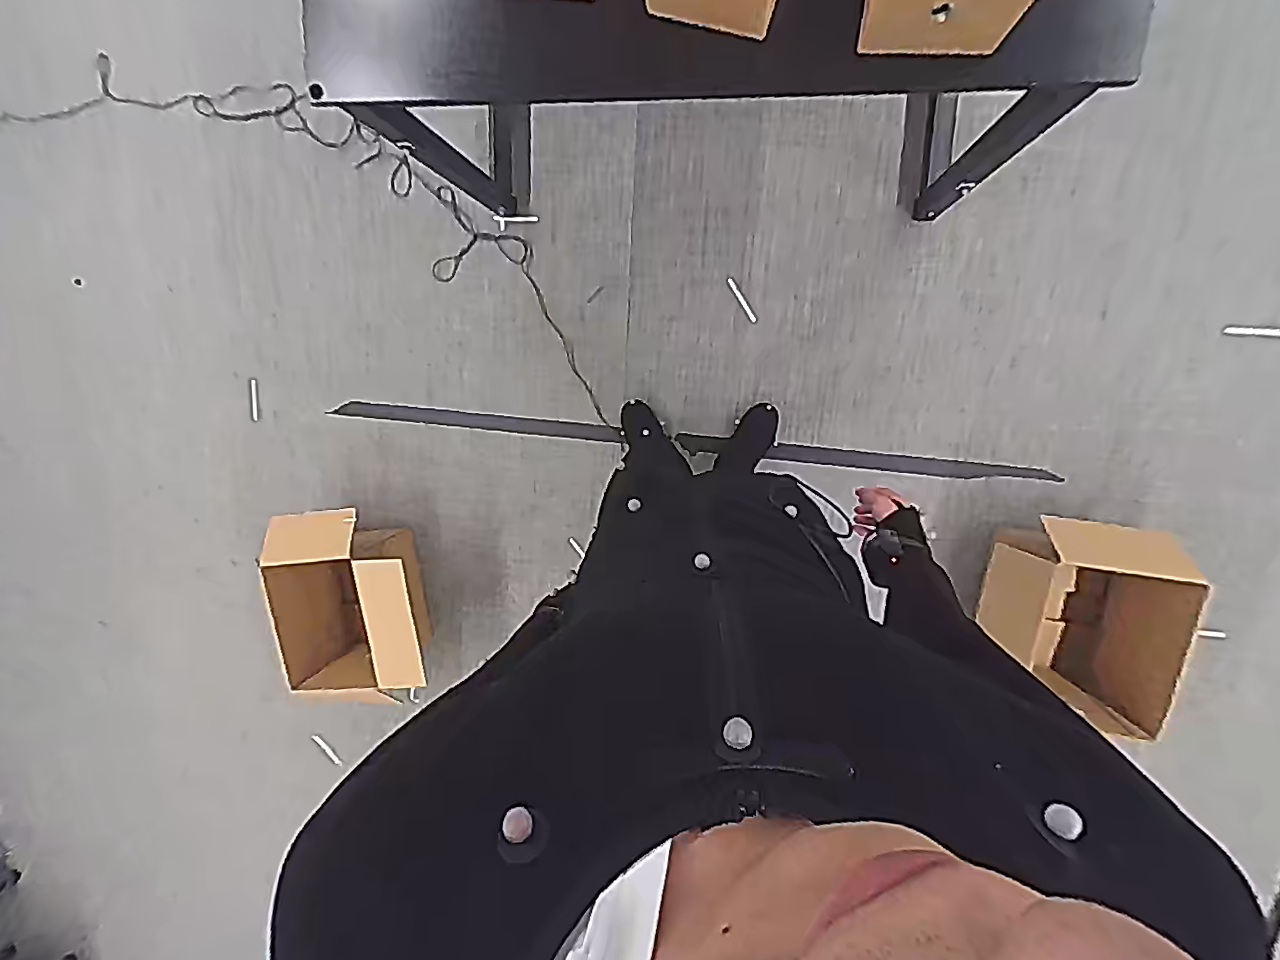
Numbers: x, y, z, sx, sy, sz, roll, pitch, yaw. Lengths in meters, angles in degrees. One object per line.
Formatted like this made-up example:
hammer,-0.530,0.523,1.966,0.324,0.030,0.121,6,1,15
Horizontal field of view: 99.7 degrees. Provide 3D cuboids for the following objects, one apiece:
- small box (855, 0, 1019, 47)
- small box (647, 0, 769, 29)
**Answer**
small box,0.369,-0.646,0.632,0.179,0.176,0.168,7,101,10
small box,0.097,-0.708,0.666,0.179,0.176,0.168,18,103,7
